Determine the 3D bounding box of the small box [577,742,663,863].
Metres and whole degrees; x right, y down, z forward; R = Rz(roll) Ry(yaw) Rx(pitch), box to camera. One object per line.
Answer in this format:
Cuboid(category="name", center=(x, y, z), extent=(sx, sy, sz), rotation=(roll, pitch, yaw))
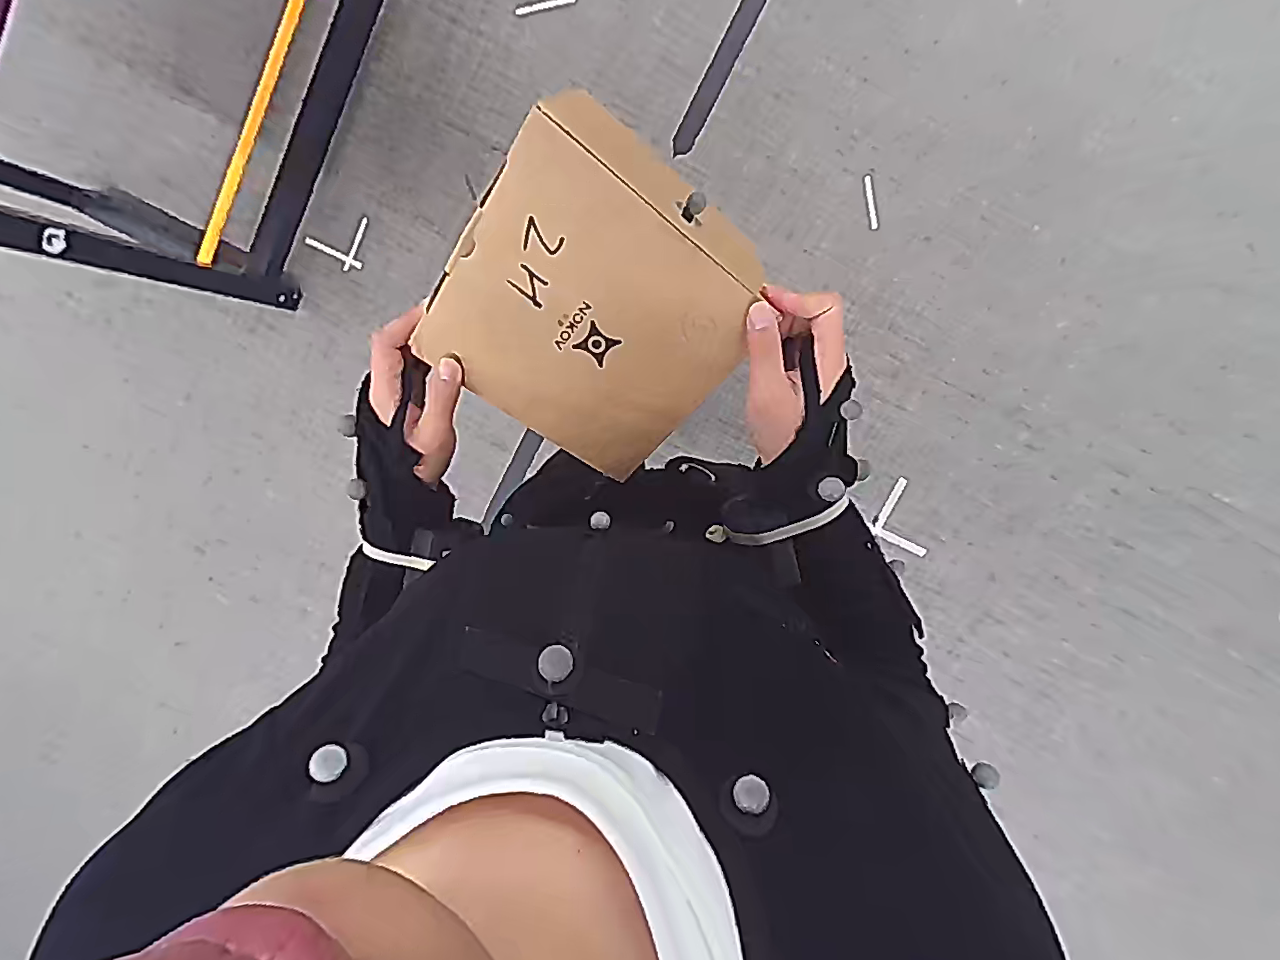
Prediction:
Cuboid(category="small box", center=(-0.045, 0.826, 1.399), extent=(0.168, 0.176, 0.179), rotation=(23, 98, -1))
